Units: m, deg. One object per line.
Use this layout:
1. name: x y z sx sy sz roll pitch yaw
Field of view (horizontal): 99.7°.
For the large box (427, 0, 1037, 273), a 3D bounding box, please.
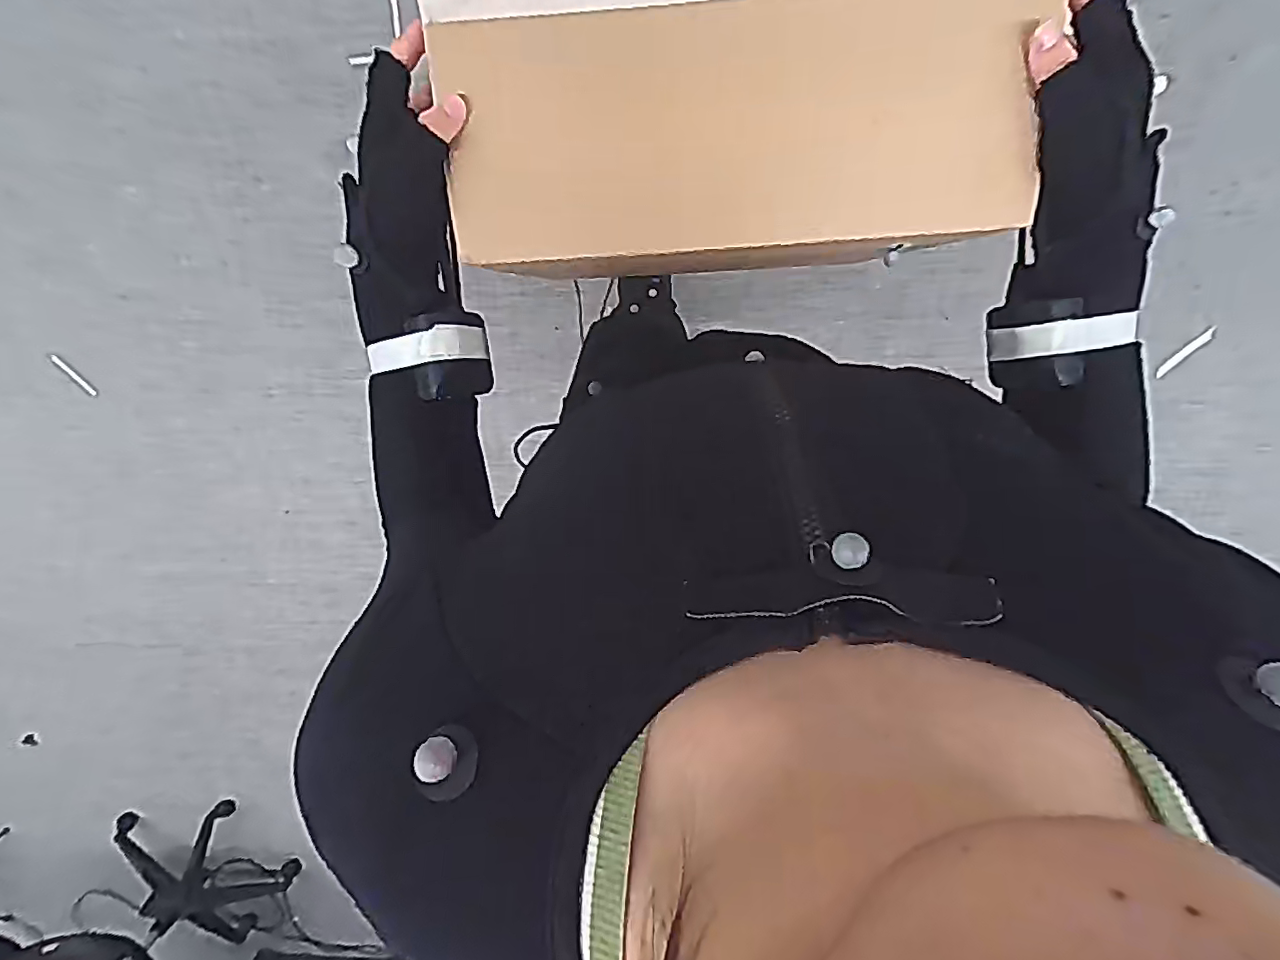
1. large box: 0.062 -0.368 0.488 0.408 0.320 0.320 -3 108 2
